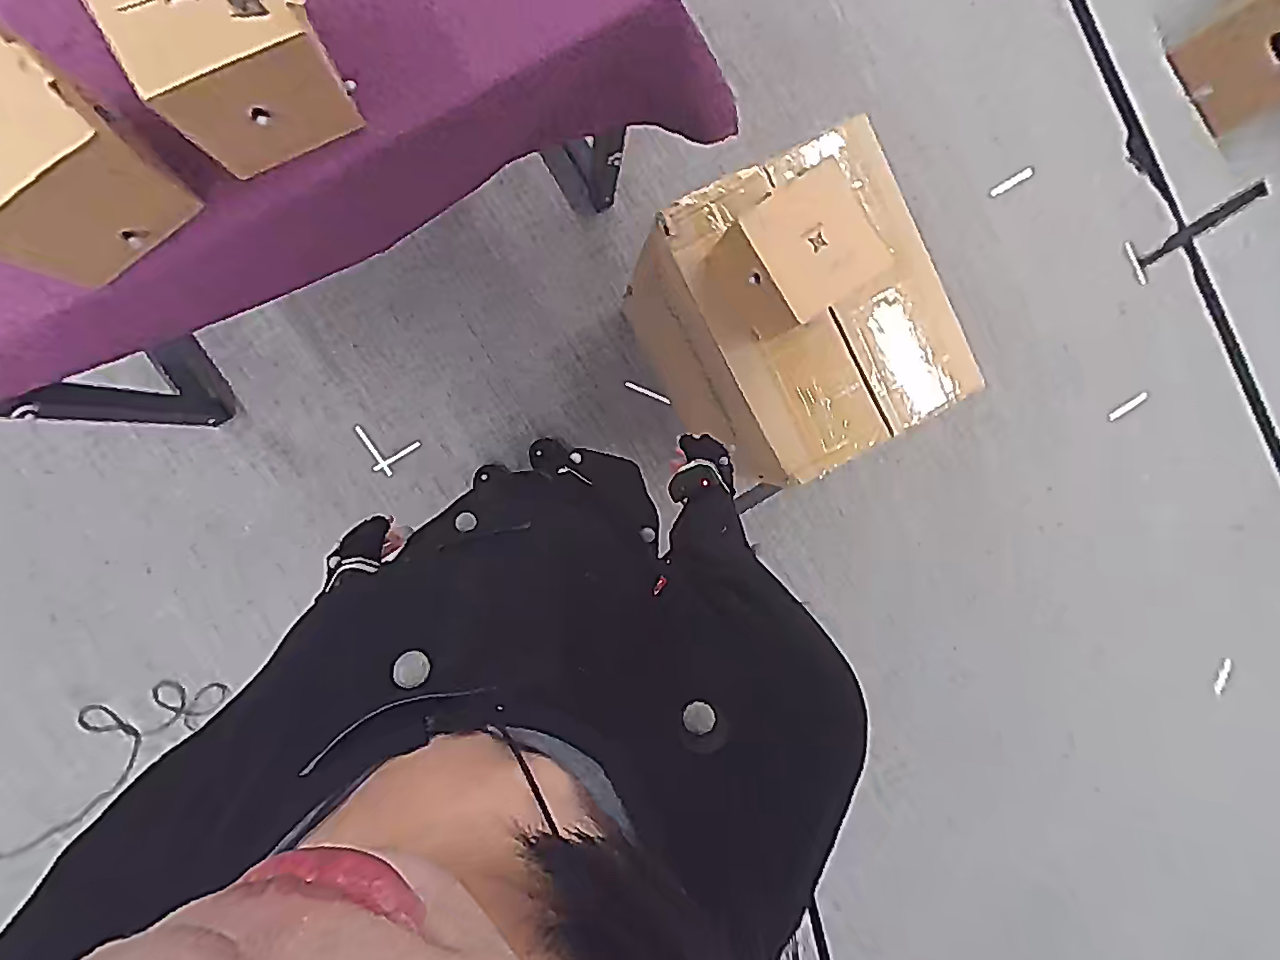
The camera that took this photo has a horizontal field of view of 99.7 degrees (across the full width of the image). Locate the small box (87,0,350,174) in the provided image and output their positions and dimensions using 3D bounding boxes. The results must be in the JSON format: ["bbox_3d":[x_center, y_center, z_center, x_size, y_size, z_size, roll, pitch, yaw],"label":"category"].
[{"bbox_3d":[-0.465,-0.495,0.616,0.179,0.176,0.168,-28,96,-4],"label":"small box"}]

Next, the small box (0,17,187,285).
[{"bbox_3d":[-0.663,-0.353,0.598,0.179,0.176,0.168,-42,97,-5],"label":"small box"}]

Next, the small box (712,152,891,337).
[{"bbox_3d":[0.233,-0.343,0.828,0.168,0.176,0.179,-35,99,-2],"label":"small box"}]
